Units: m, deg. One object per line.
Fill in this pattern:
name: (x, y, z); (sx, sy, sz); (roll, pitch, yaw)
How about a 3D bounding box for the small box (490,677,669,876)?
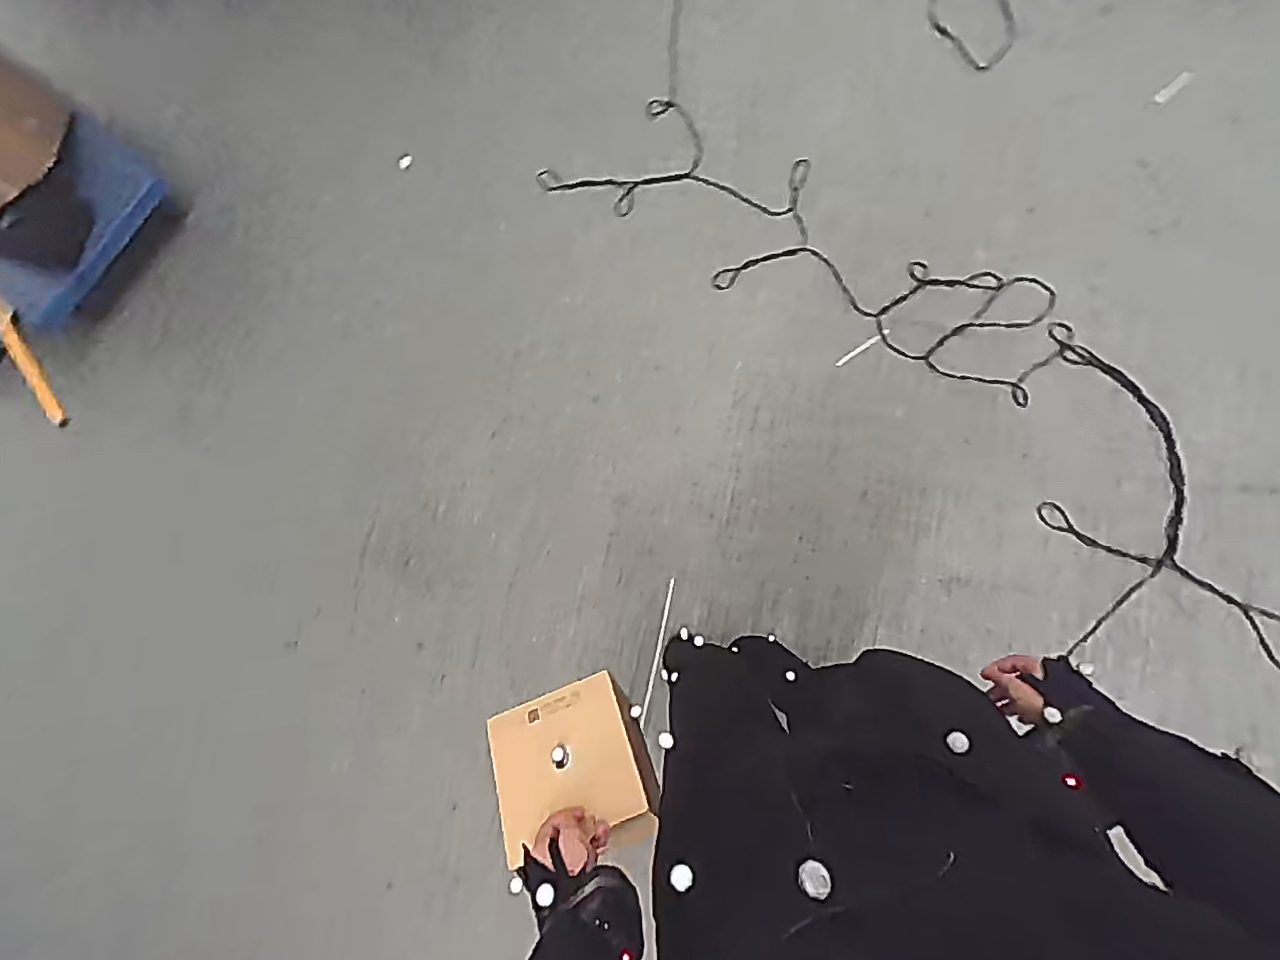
small box: (-0.078, 0.378, 0.699); (0.168, 0.179, 0.176); (-22, 52, -4)
